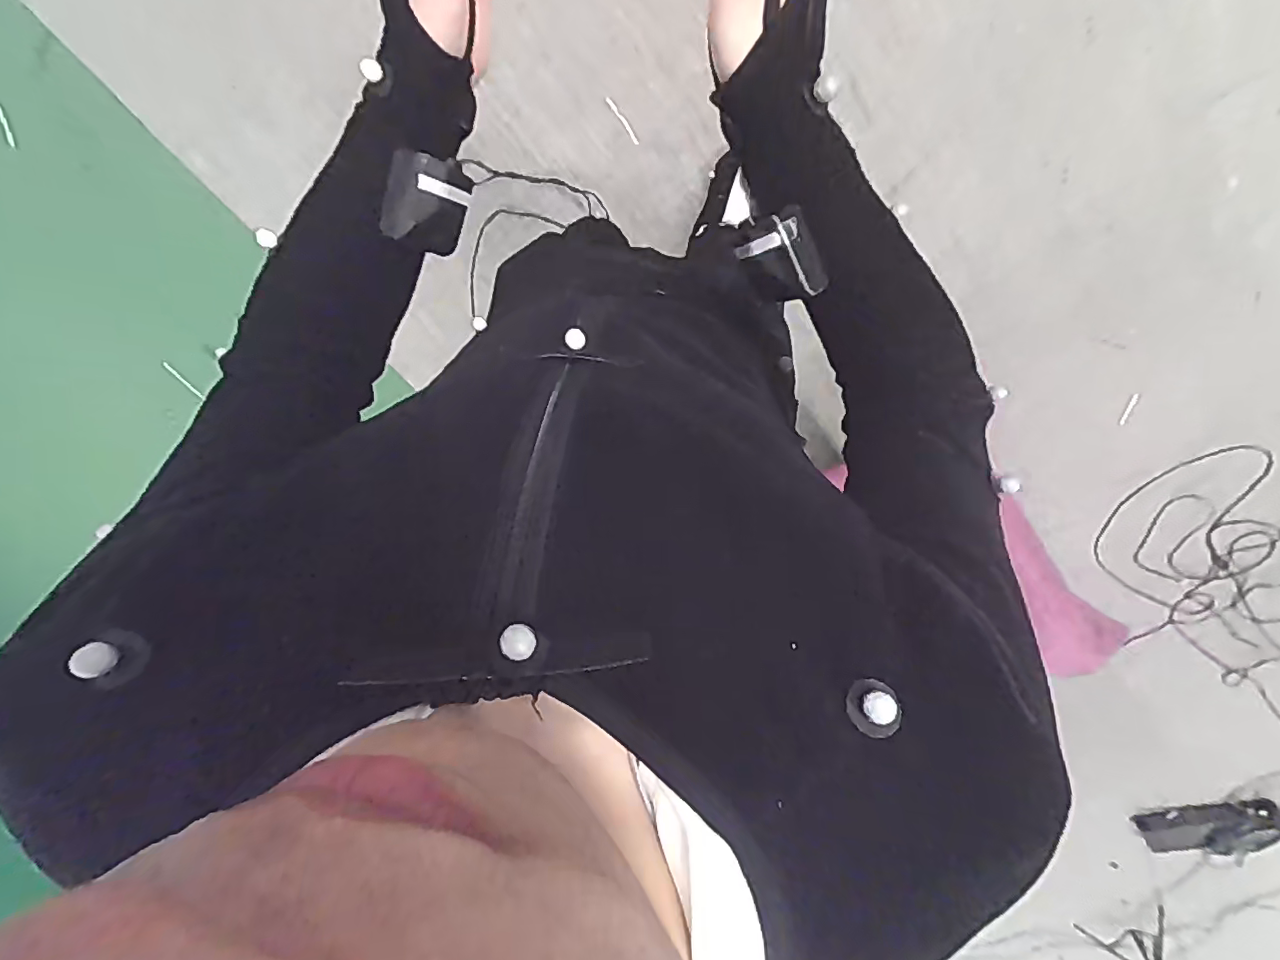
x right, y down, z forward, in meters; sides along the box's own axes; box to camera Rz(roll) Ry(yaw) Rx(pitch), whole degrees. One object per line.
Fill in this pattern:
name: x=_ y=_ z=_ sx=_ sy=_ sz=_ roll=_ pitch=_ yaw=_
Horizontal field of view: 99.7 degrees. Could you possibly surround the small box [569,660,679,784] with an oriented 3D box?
small box: x=-0.027 y=0.529 z=1.193 sx=0.179 sy=0.176 sz=0.168 roll=-30 pitch=113 yaw=24
